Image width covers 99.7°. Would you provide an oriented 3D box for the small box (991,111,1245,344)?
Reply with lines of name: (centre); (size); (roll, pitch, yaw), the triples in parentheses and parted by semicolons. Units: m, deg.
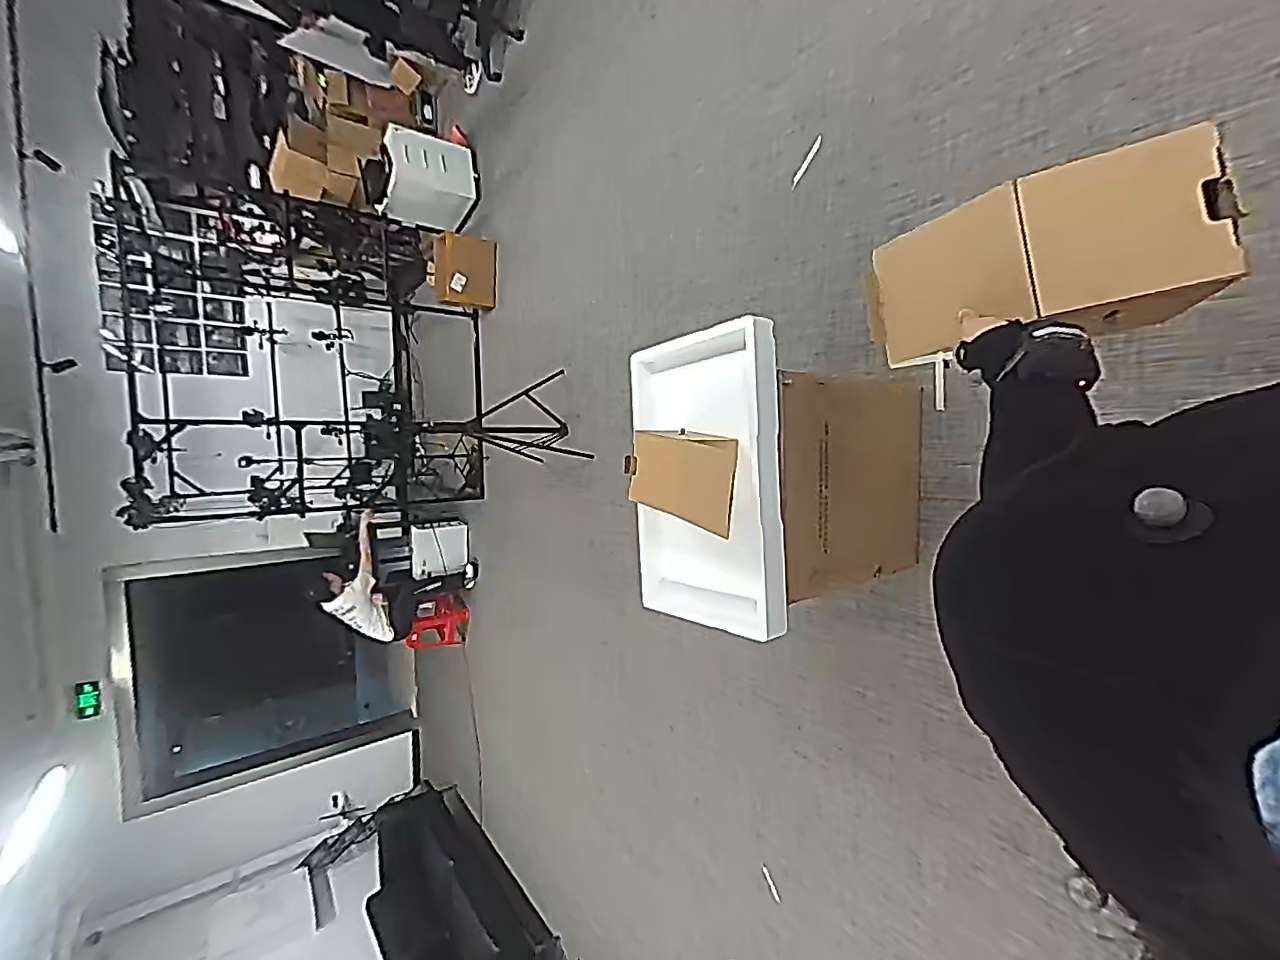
small box: (0.530, -0.272, 0.634); (0.179, 0.176, 0.168); (-9, 87, 24)
